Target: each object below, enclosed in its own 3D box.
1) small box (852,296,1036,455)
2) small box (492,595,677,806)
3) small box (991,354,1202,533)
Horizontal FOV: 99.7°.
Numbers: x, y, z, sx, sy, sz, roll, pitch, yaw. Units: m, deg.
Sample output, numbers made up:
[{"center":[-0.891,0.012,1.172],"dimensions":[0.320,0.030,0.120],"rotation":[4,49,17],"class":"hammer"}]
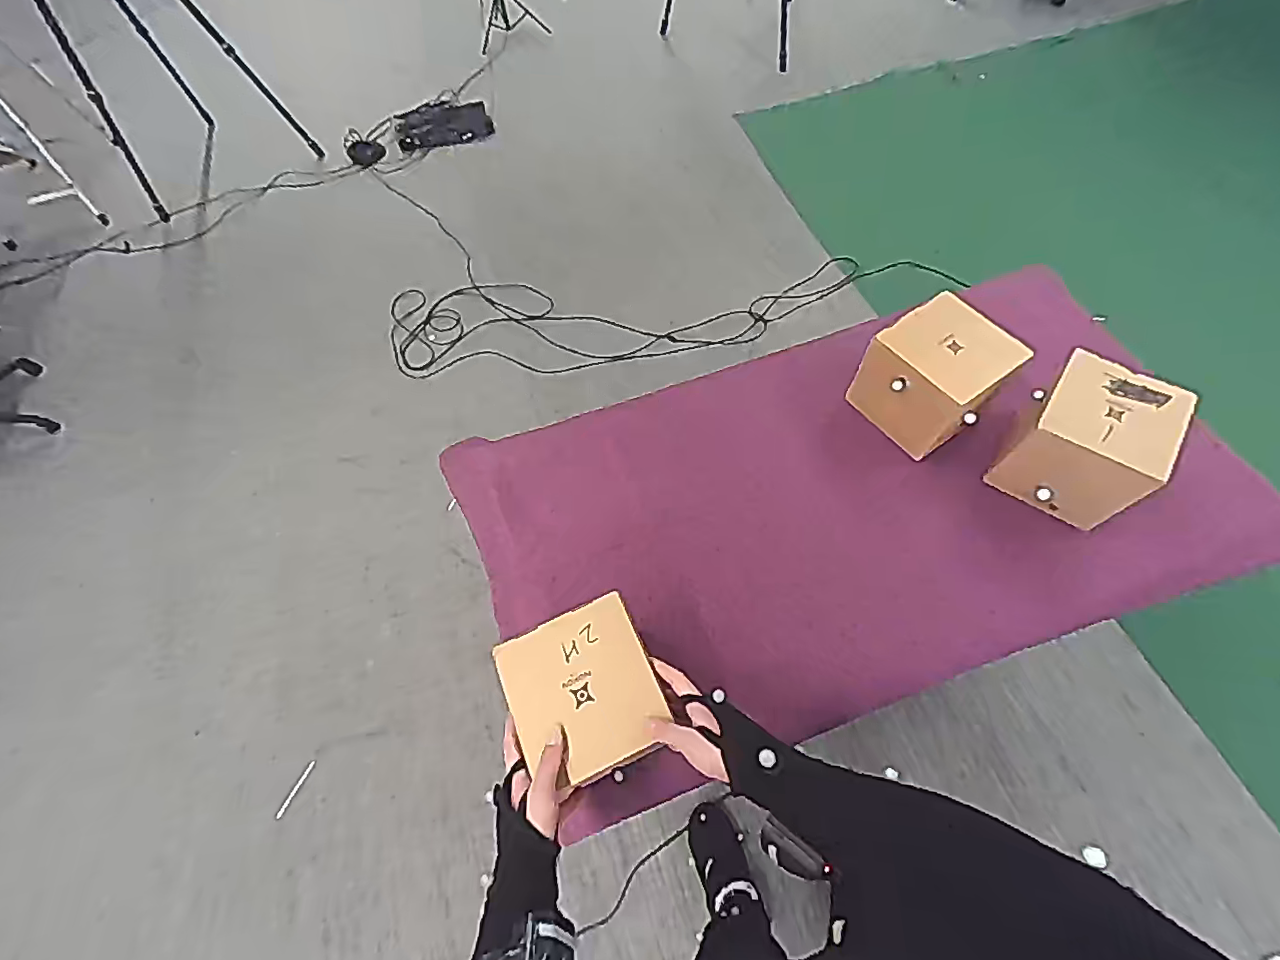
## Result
[{"center":[0.494,-0.164,0.907],"dimensions":[0.168,0.176,0.179],"rotation":[-32,64,-12],"class":"small box"},{"center":[-0.060,0.273,0.677],"dimensions":[0.168,0.176,0.179],"rotation":[-24,63,-6],"class":"small box"},{"center":[0.682,-0.051,0.829],"dimensions":[0.168,0.176,0.179],"rotation":[32,69,20],"class":"small box"}]
